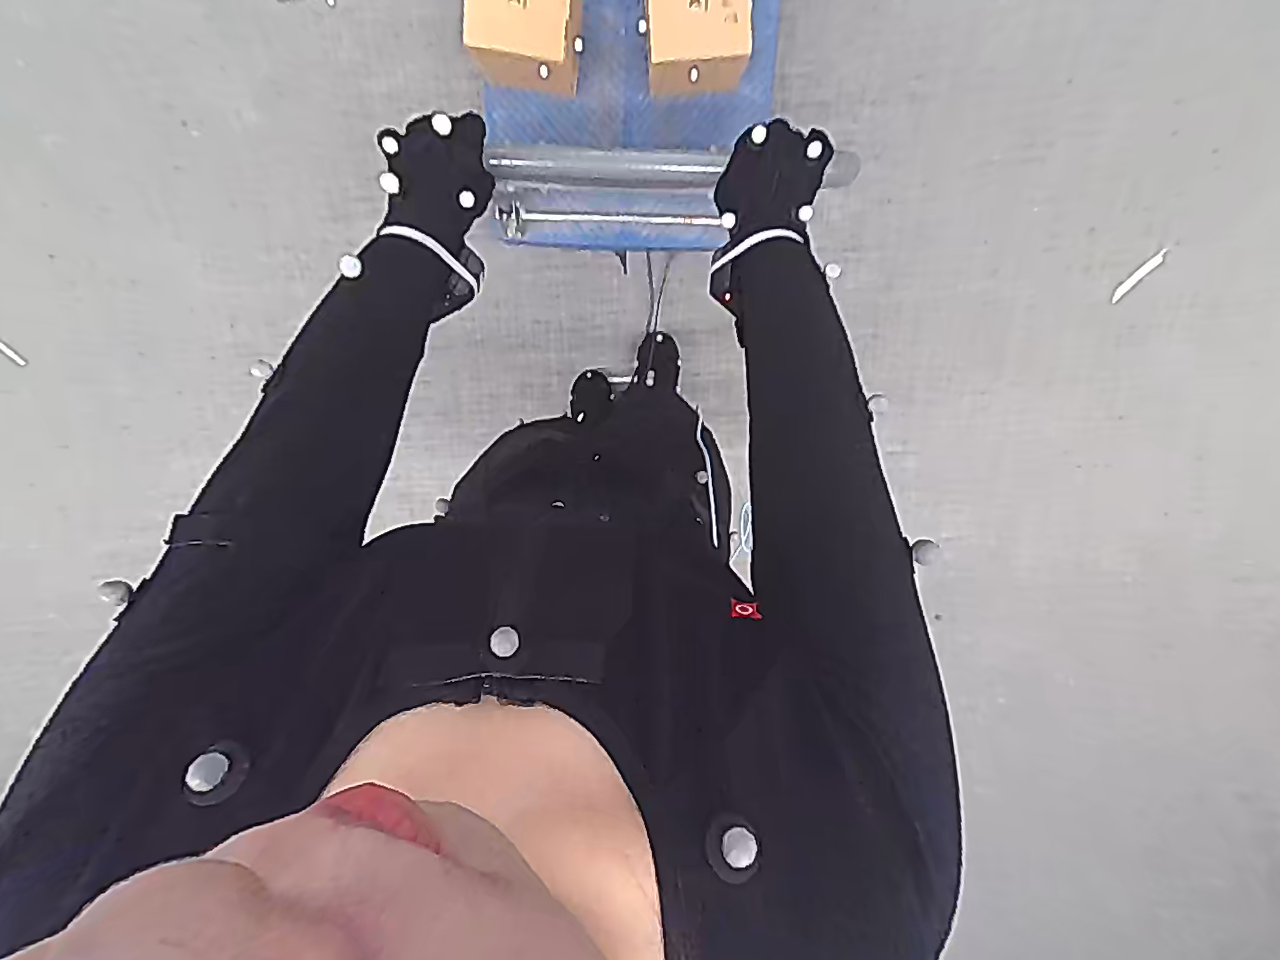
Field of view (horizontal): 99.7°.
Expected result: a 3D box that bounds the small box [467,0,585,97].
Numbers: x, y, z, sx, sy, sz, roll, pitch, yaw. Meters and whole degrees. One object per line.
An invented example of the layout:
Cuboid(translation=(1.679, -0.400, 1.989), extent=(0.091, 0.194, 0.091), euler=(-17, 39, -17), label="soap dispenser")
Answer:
Cuboid(translation=(-0.201, -0.831, 0.984), extent=(0.179, 0.176, 0.168), euler=(7, 107, -4), label="small box")

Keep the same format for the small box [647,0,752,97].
Cuboid(translation=(0.102, -0.824, 0.985), extent=(0.179, 0.176, 0.168), euler=(-4, 108, 1), label="small box")
